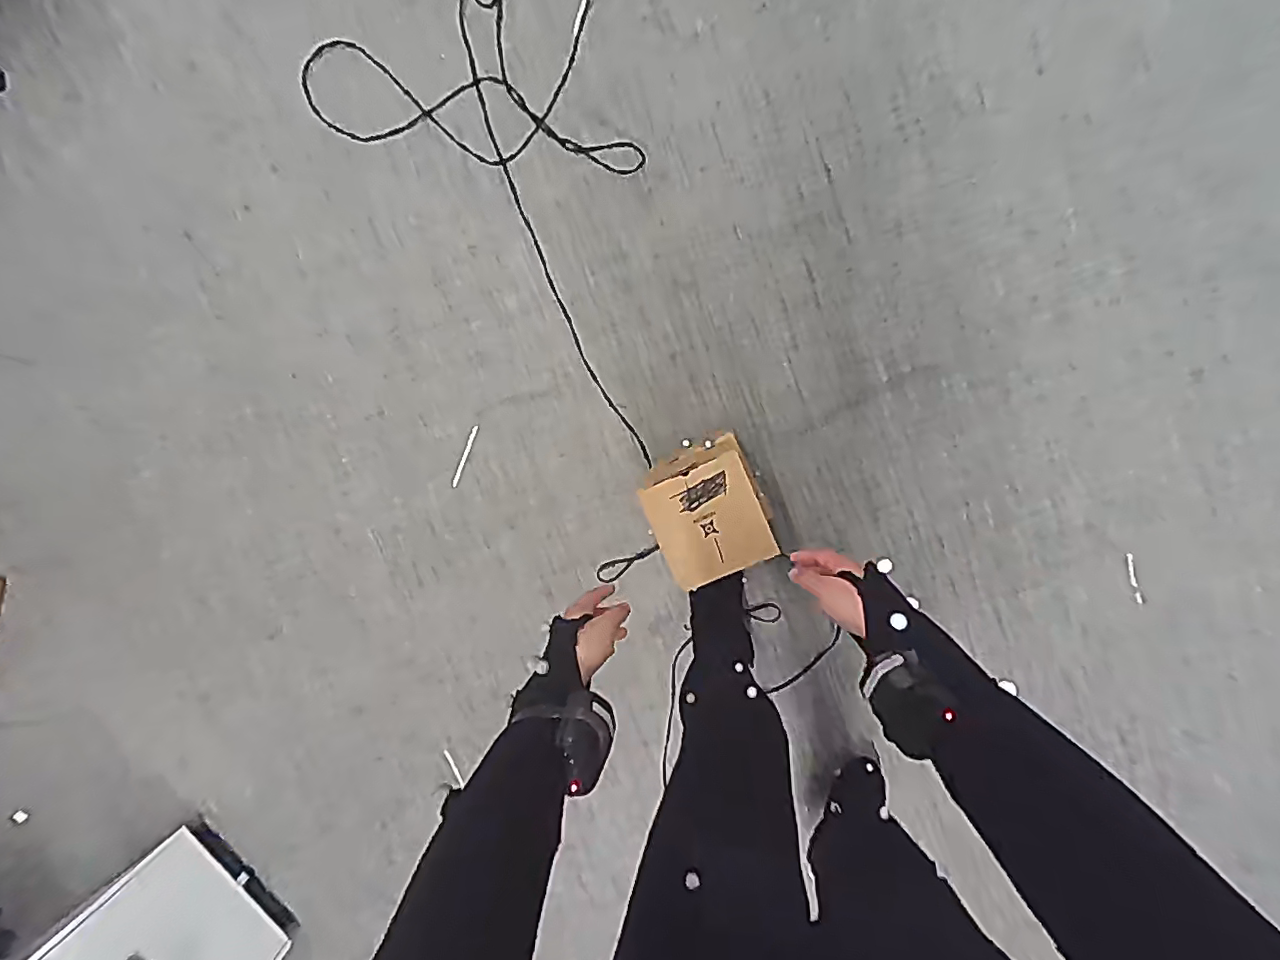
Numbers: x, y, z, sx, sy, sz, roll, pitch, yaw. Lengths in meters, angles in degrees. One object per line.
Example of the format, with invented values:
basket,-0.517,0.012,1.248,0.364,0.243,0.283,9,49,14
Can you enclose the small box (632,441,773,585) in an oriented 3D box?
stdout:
small box,0.099,0.043,0.889,0.168,0.176,0.179,-23,97,8

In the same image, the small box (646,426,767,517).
small box,0.127,0.007,1.048,0.168,0.176,0.179,-27,95,8
